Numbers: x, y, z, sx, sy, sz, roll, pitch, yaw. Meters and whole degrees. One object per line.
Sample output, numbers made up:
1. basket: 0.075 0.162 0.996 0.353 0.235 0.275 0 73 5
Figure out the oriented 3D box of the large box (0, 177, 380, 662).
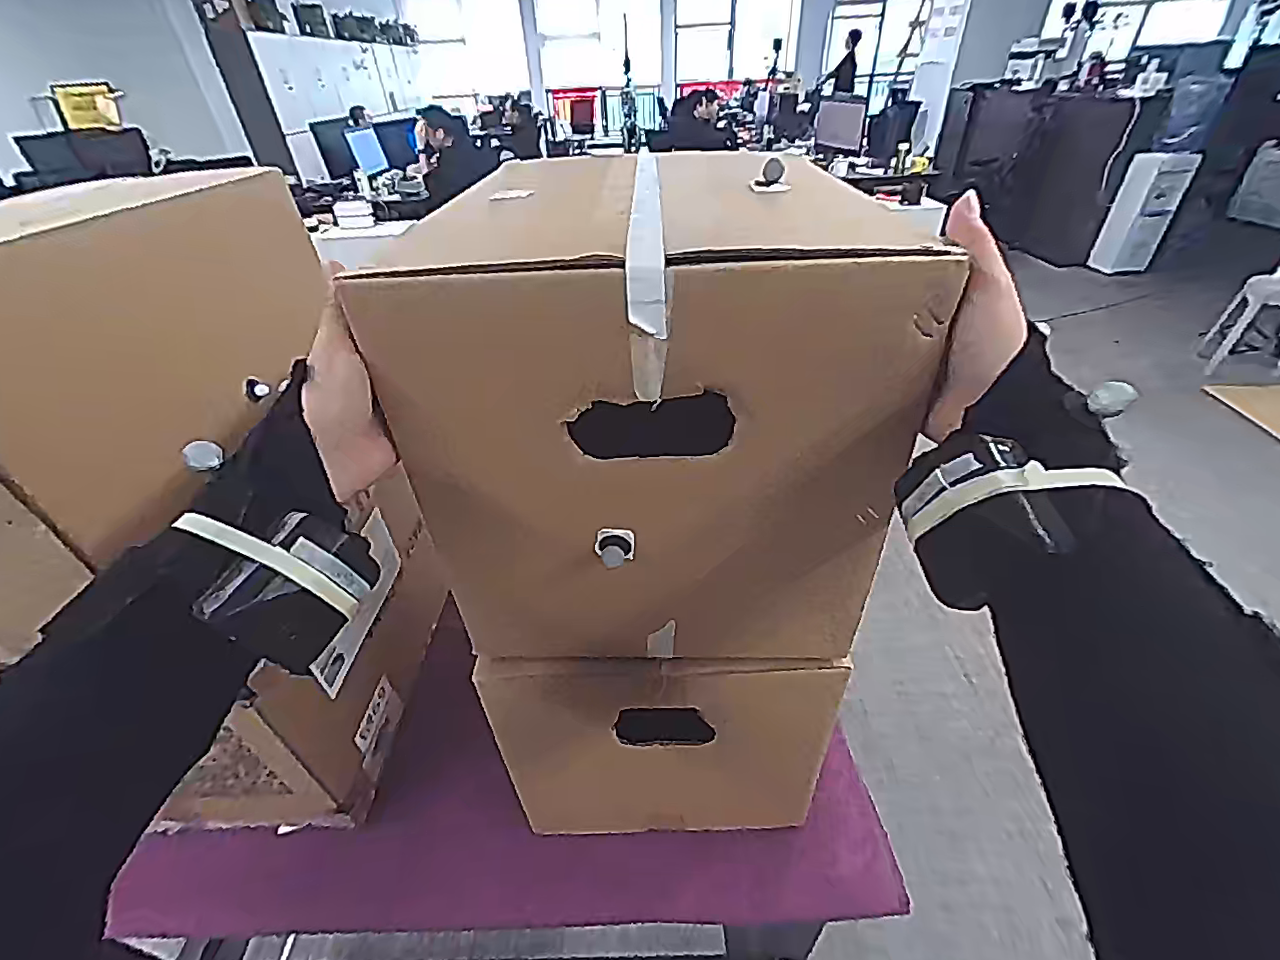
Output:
1. large box: -0.528 -0.082 0.537 0.320 0.320 0.408 -5 37 5
